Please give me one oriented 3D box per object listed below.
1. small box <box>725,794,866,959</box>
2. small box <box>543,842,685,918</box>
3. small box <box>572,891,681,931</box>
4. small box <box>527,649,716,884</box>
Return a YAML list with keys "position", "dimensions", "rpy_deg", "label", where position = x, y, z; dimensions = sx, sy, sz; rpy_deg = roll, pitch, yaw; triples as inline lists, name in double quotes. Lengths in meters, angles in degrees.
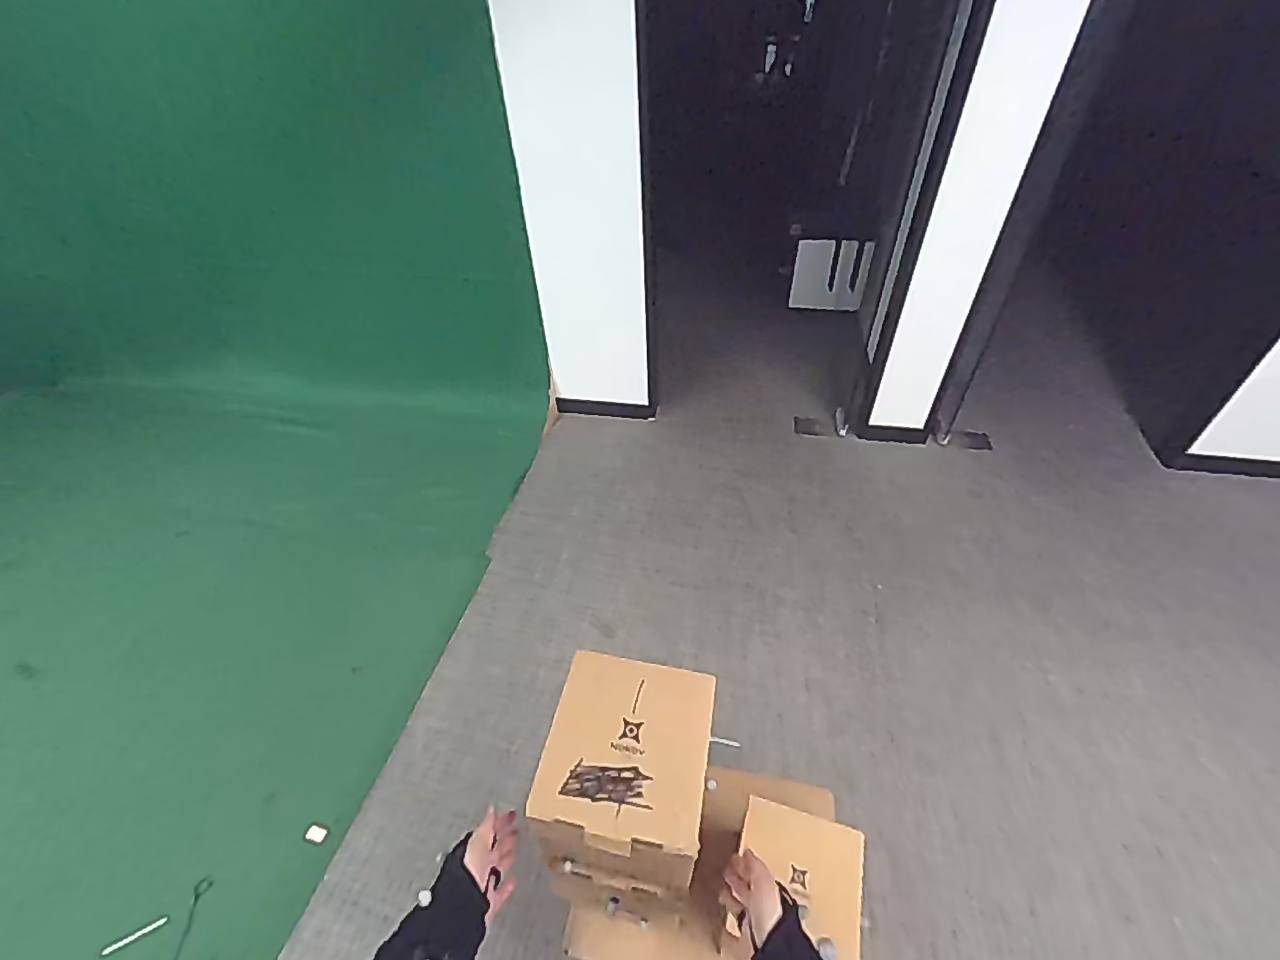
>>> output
- position: [0.219, 0.598, 0.780]
  dimensions: [0.168, 0.176, 0.179]
  rpy_deg: [10, 44, 16]
  label: "small box"
- position: [-0.013, 0.449, 0.717]
  dimensions: [0.168, 0.176, 0.179]
  rpy_deg: [8, 45, 8]
  label: "small box"
- position: [-0.006, 0.561, 0.836]
  dimensions: [0.168, 0.176, 0.179]
  rpy_deg: [9, 44, 10]
  label: "small box"
- position: [-0.010, 0.323, 0.610]
  dimensions: [0.168, 0.176, 0.179]
  rpy_deg: [8, 43, 8]
  label: "small box"
